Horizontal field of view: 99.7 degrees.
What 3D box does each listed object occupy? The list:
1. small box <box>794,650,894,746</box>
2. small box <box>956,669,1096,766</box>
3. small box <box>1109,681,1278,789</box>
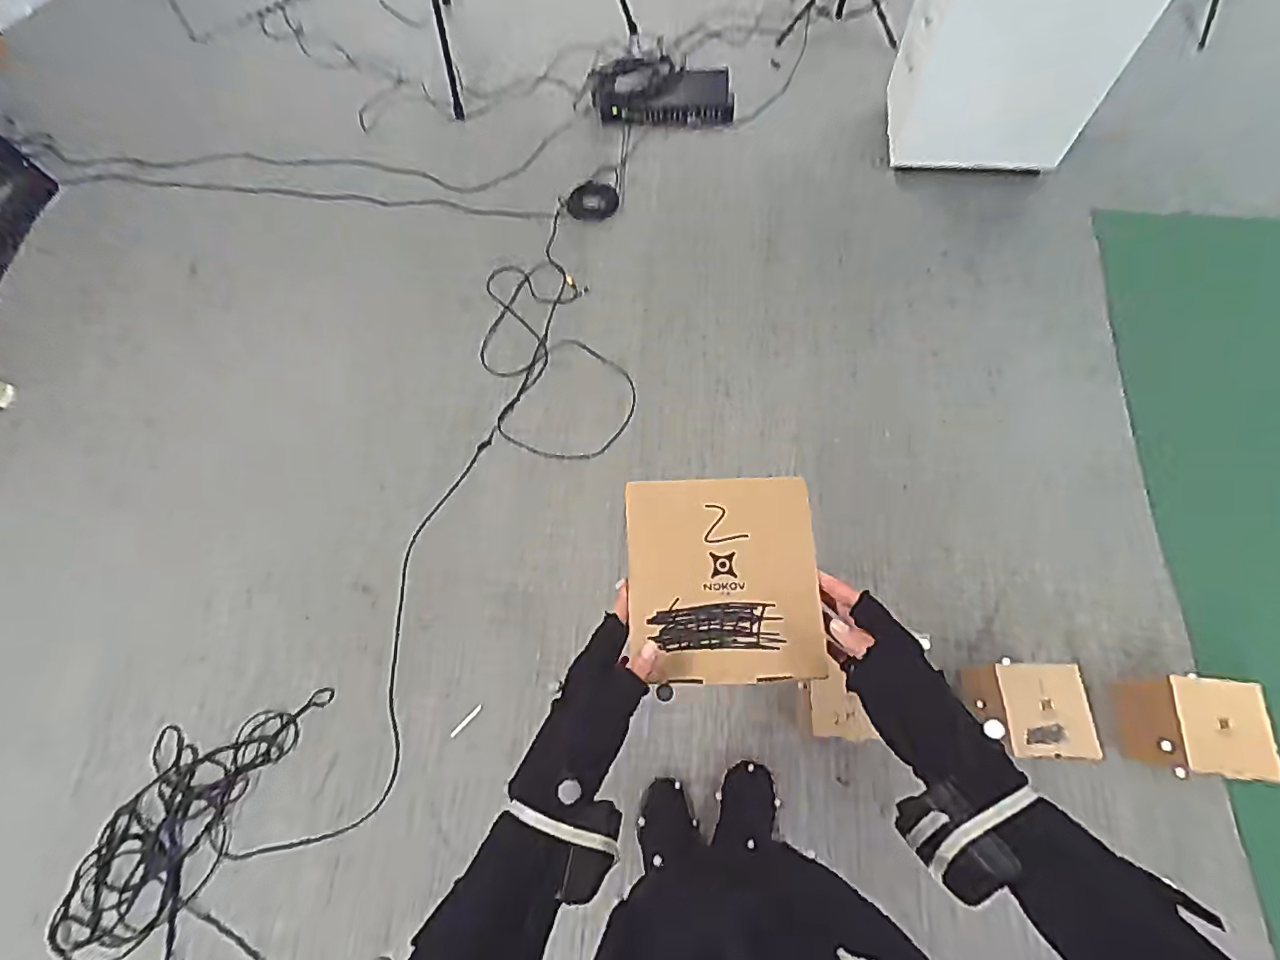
[{"bbox_3d":[0.437,0.477,1.190,0.168,0.176,0.179,2,69,6],"label":"small box"},{"bbox_3d":[0.810,0.502,1.156,0.168,0.176,0.179,0,67,4],"label":"small box"},{"bbox_3d":[1.132,0.524,1.126,0.168,0.176,0.179,5,69,7],"label":"small box"}]
